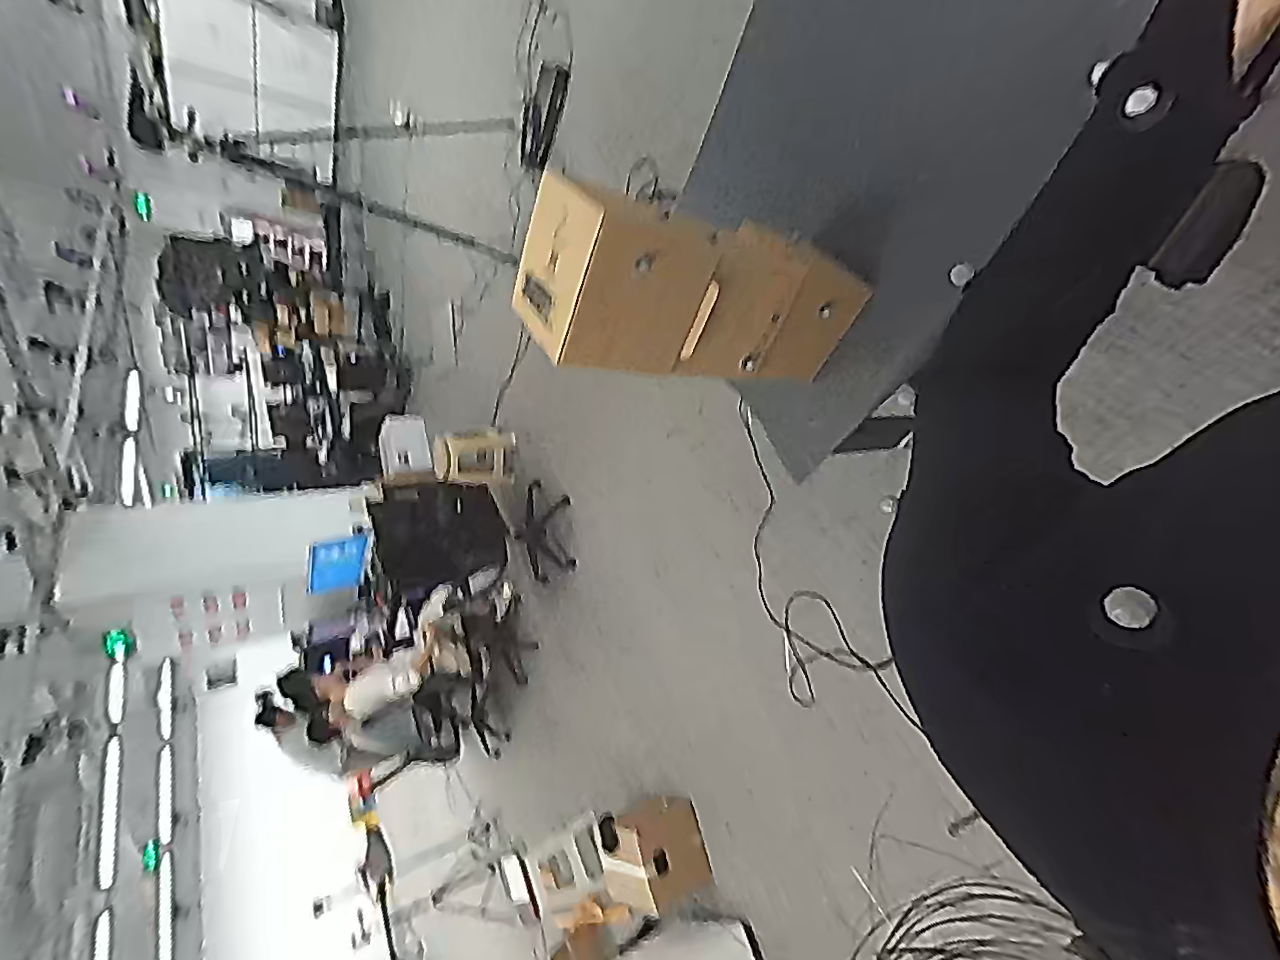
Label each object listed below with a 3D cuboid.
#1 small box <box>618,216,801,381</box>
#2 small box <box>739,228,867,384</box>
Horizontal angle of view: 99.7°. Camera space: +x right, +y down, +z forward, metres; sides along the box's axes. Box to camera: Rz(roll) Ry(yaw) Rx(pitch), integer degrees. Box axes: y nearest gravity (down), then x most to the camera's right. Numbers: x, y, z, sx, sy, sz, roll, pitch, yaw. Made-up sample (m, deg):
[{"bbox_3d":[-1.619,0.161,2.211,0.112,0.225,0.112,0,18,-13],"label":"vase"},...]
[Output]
[{"bbox_3d":[0.098,-0.257,0.788,0.179,0.176,0.168,54,133,38],"label":"small box"},{"bbox_3d":[0.234,-0.275,0.878,0.168,0.176,0.179,57,137,35],"label":"small box"}]
